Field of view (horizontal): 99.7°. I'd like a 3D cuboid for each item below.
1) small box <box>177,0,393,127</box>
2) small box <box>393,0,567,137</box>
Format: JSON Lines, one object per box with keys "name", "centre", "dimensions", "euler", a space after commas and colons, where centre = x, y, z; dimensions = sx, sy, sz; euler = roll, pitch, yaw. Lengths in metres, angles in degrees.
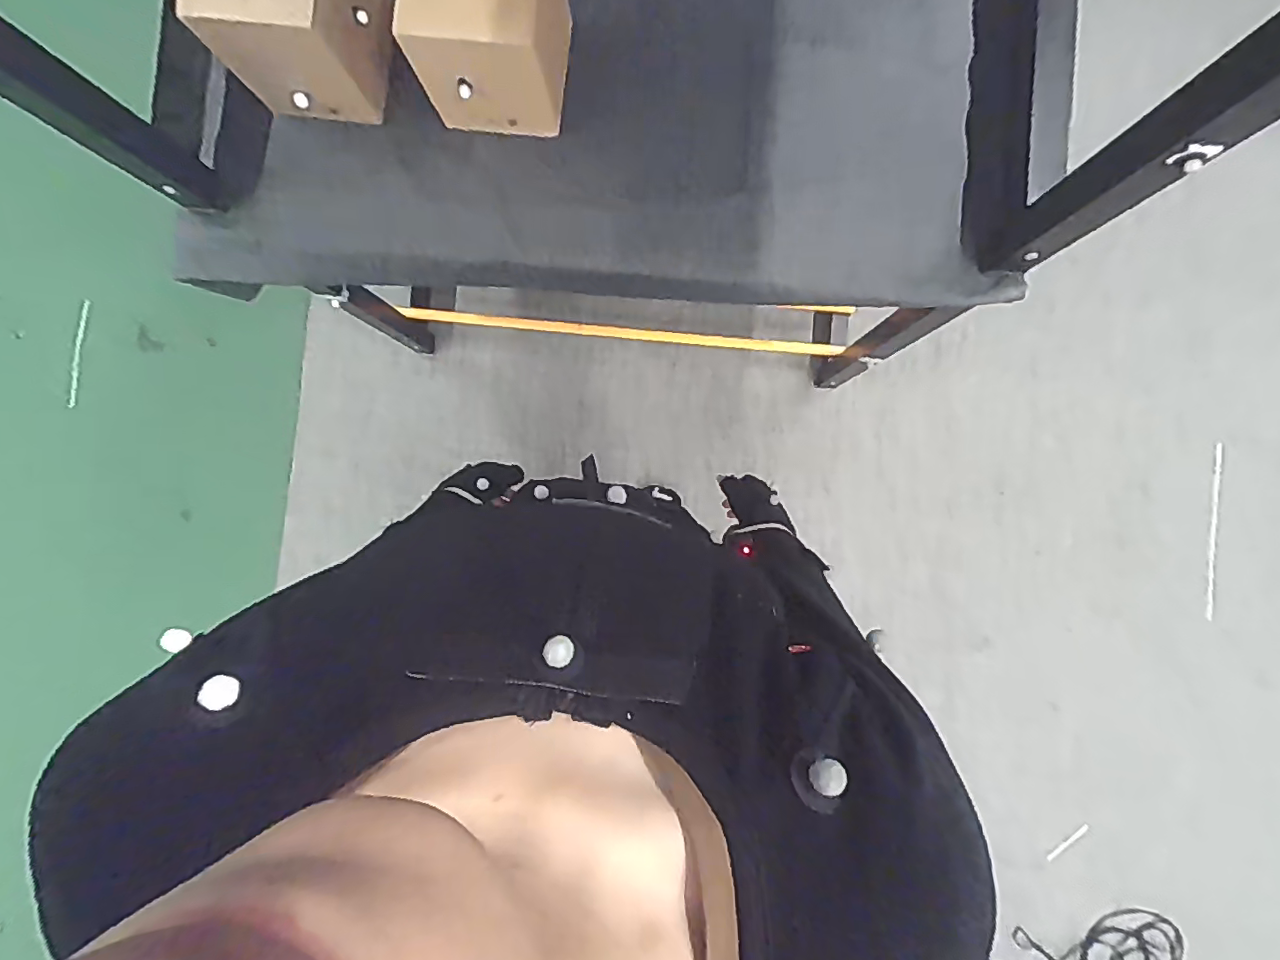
{"name": "small box", "centre": [-0.447, -0.610, 0.710], "dimensions": [0.168, 0.176, 0.179], "euler": [7, 89, 2]}
{"name": "small box", "centre": [-0.195, -0.586, 0.706], "dimensions": [0.168, 0.176, 0.179], "euler": [6, 88, 1]}
